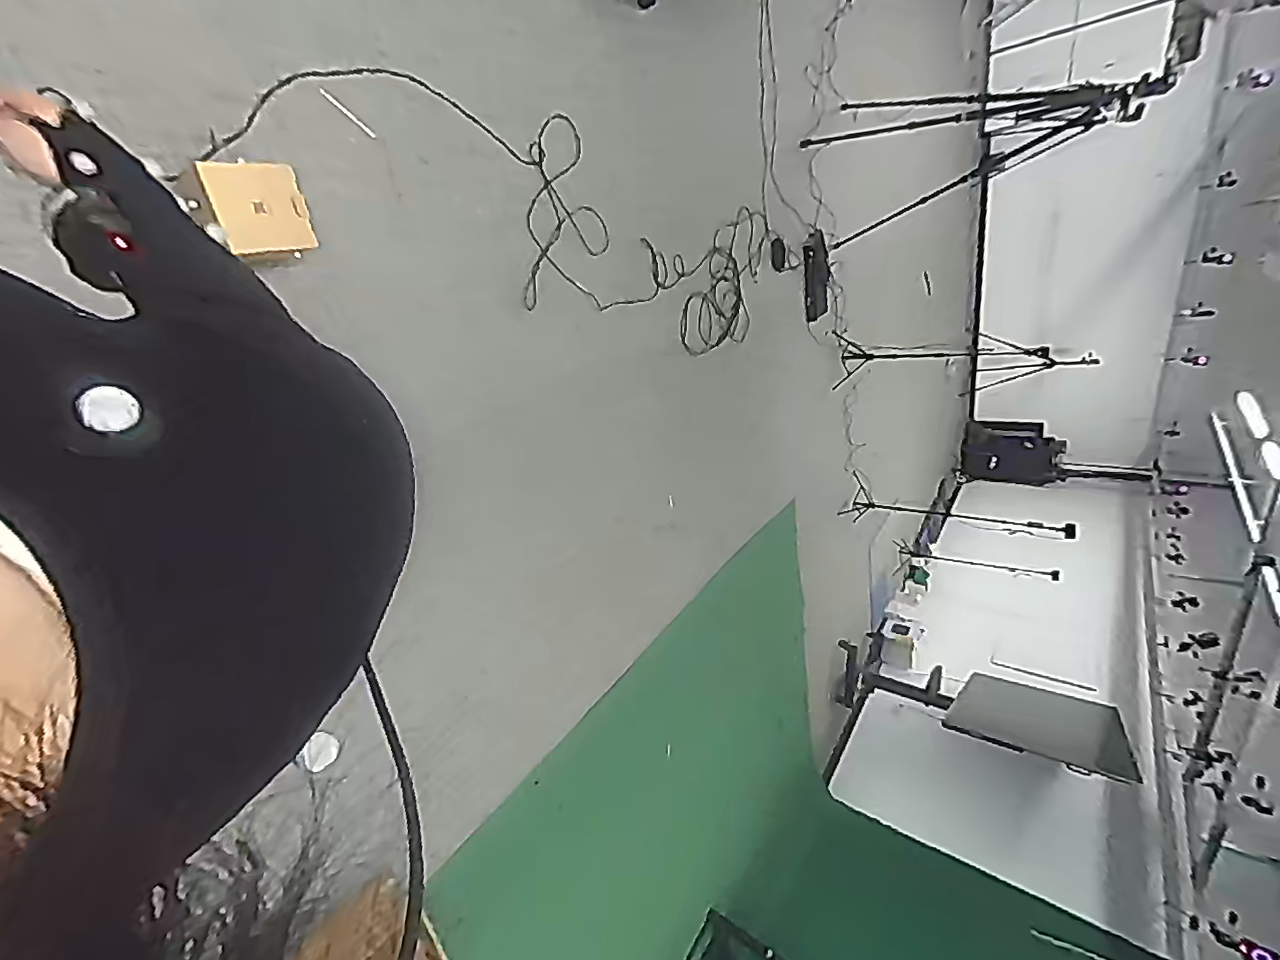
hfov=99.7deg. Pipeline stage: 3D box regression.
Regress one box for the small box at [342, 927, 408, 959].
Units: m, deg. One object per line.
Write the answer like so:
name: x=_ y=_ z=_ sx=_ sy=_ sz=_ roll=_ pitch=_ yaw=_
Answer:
small box: x=-0.753 y=1.442 z=1.546 sx=0.168 sy=0.176 sz=0.179 roll=-36 pitch=123 yaw=-43

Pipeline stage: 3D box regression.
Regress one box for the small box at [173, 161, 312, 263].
small box: x=-0.847 y=-0.563 z=1.148 sx=0.179 sy=0.176 sz=0.168 roll=-33 pitch=122 yaw=-45
